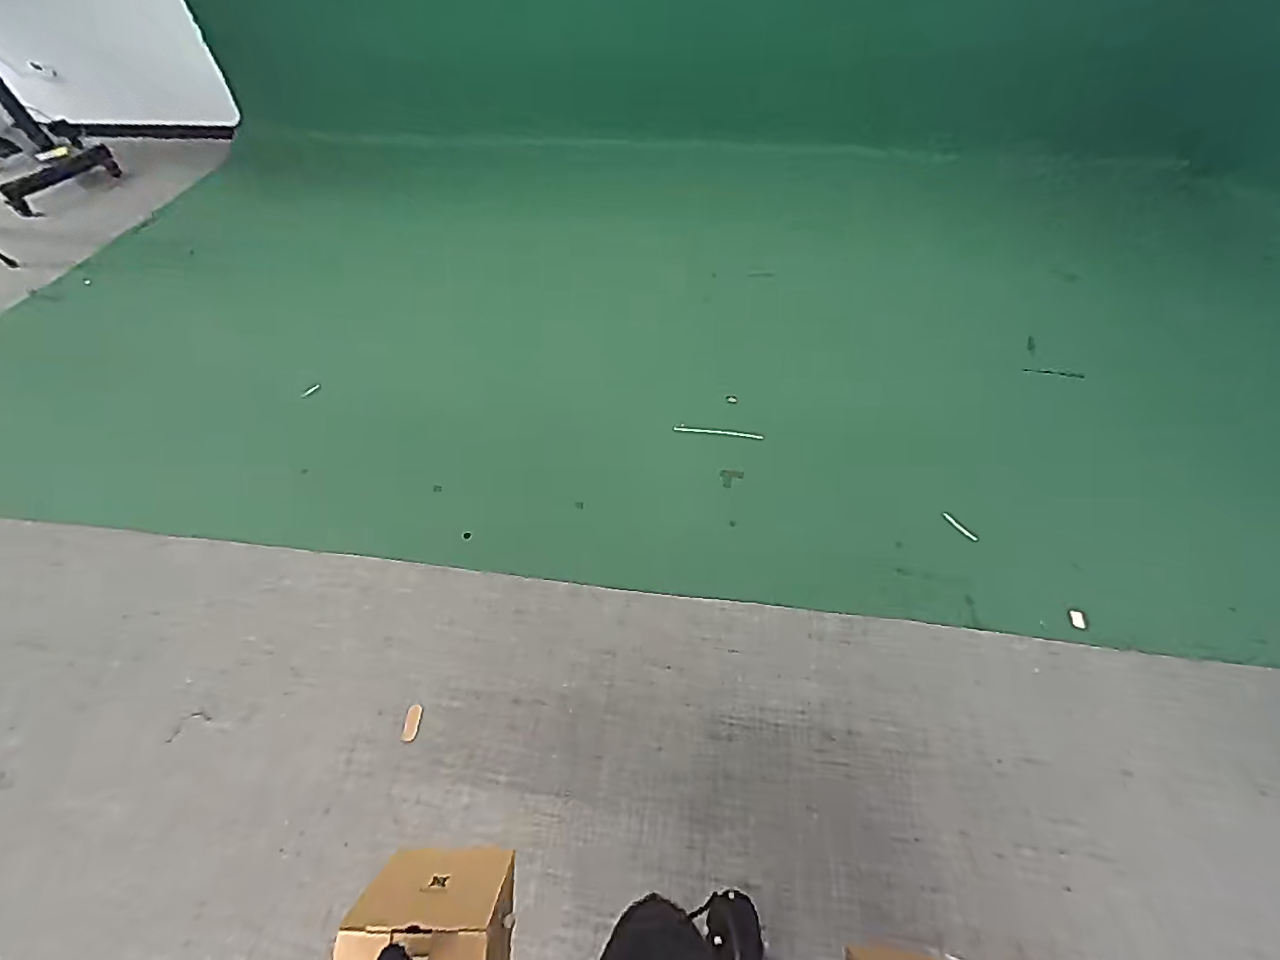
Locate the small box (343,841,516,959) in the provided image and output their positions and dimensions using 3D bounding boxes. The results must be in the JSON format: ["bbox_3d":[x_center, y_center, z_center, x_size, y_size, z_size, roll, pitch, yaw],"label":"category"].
[{"bbox_3d":[-0.255,0.584,0.672,0.168,0.179,0.176,1,84,-3],"label":"small box"}]
